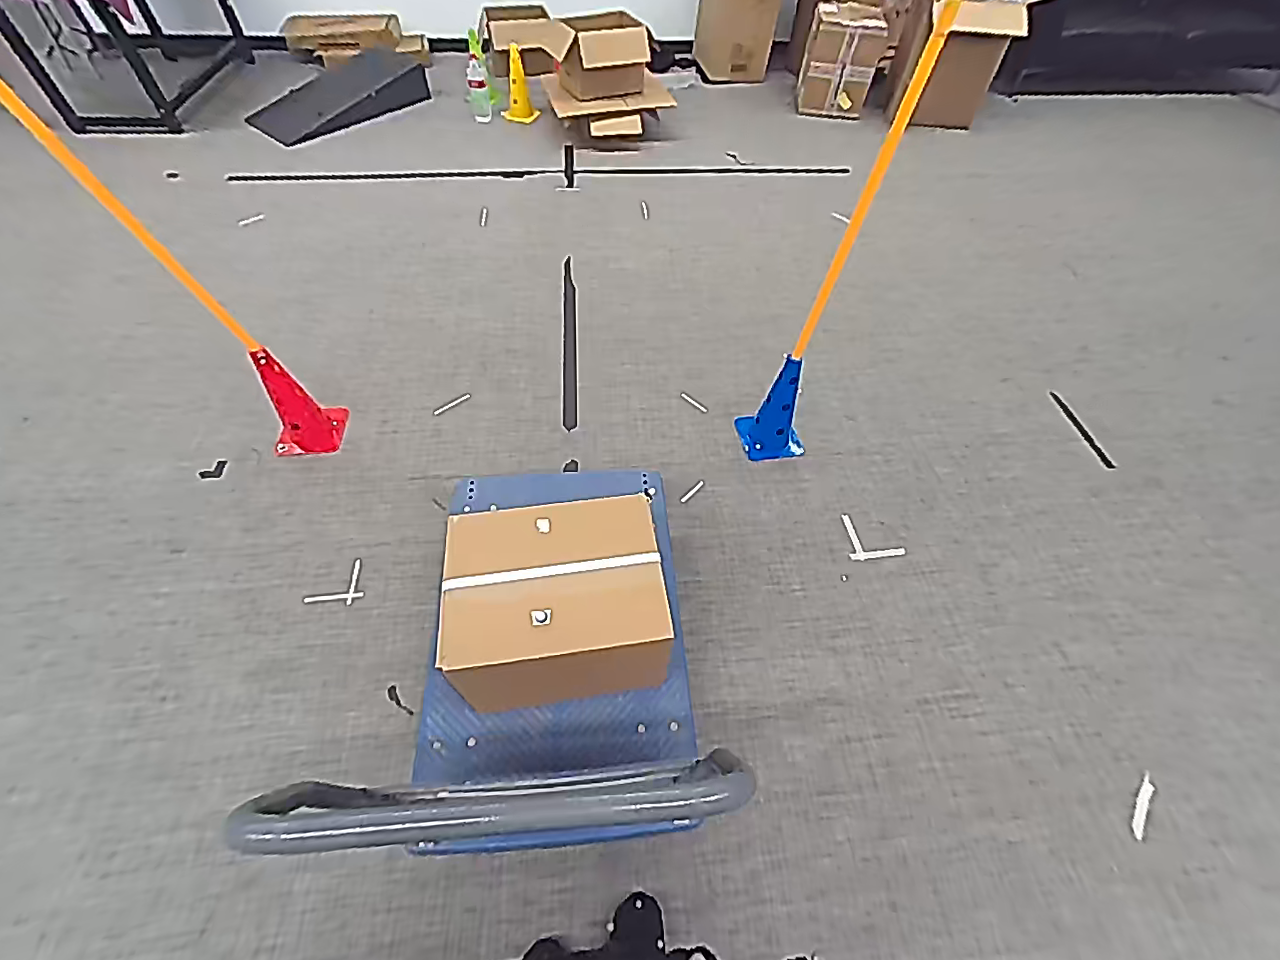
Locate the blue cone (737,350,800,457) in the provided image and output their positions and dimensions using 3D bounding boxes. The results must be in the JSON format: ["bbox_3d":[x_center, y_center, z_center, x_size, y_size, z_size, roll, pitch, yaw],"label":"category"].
[{"bbox_3d":[0.453,-0.254,1.745,0.193,0.380,0.192,-6,53,-7],"label":"blue cone"}]
